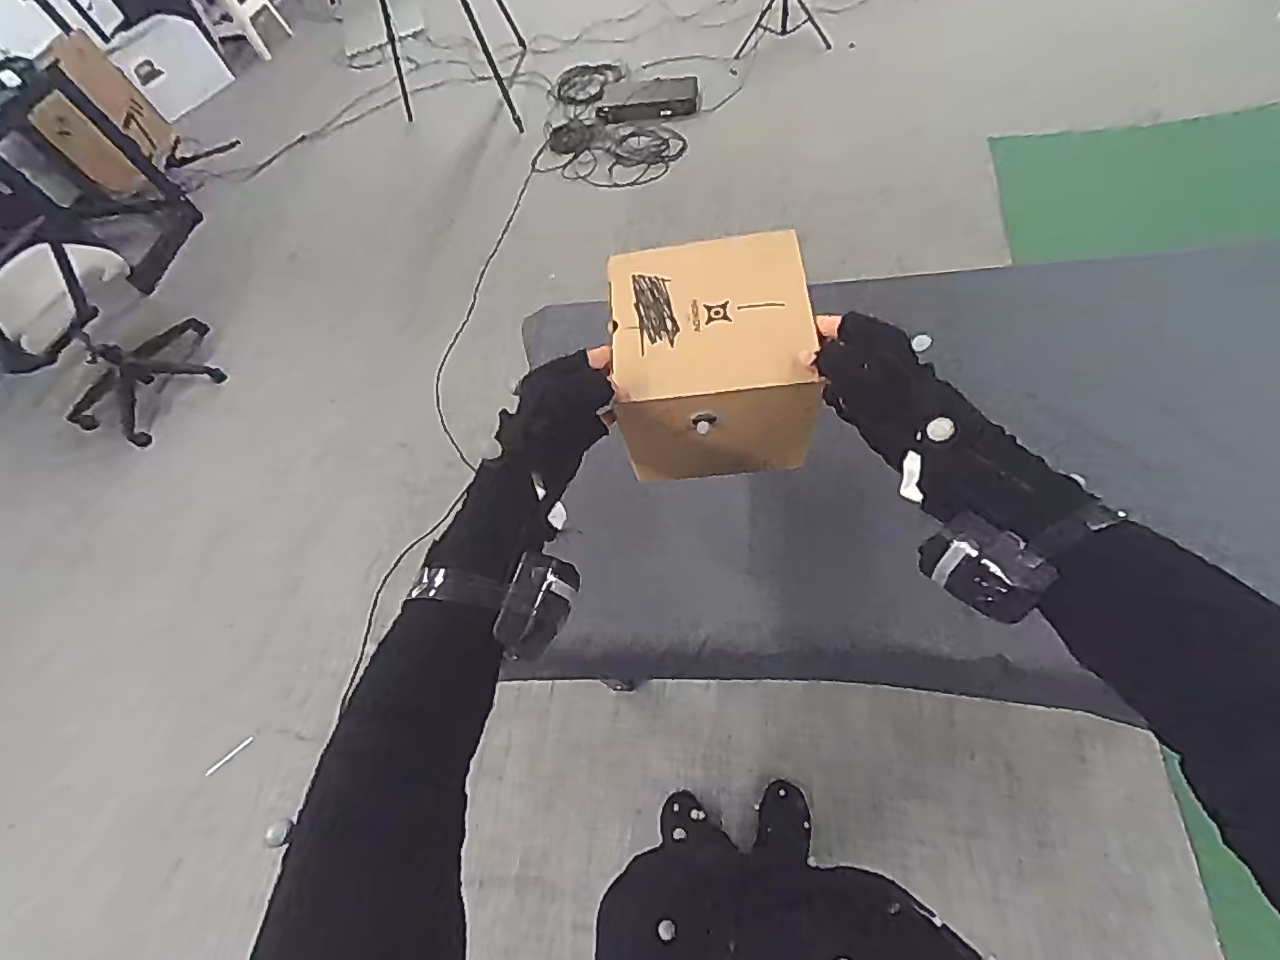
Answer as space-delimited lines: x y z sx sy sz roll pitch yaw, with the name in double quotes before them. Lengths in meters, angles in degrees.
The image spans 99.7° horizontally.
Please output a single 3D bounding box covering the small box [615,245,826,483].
"small box" 0.076 -0.104 0.551 0.179 0.176 0.168 -5 66 7
